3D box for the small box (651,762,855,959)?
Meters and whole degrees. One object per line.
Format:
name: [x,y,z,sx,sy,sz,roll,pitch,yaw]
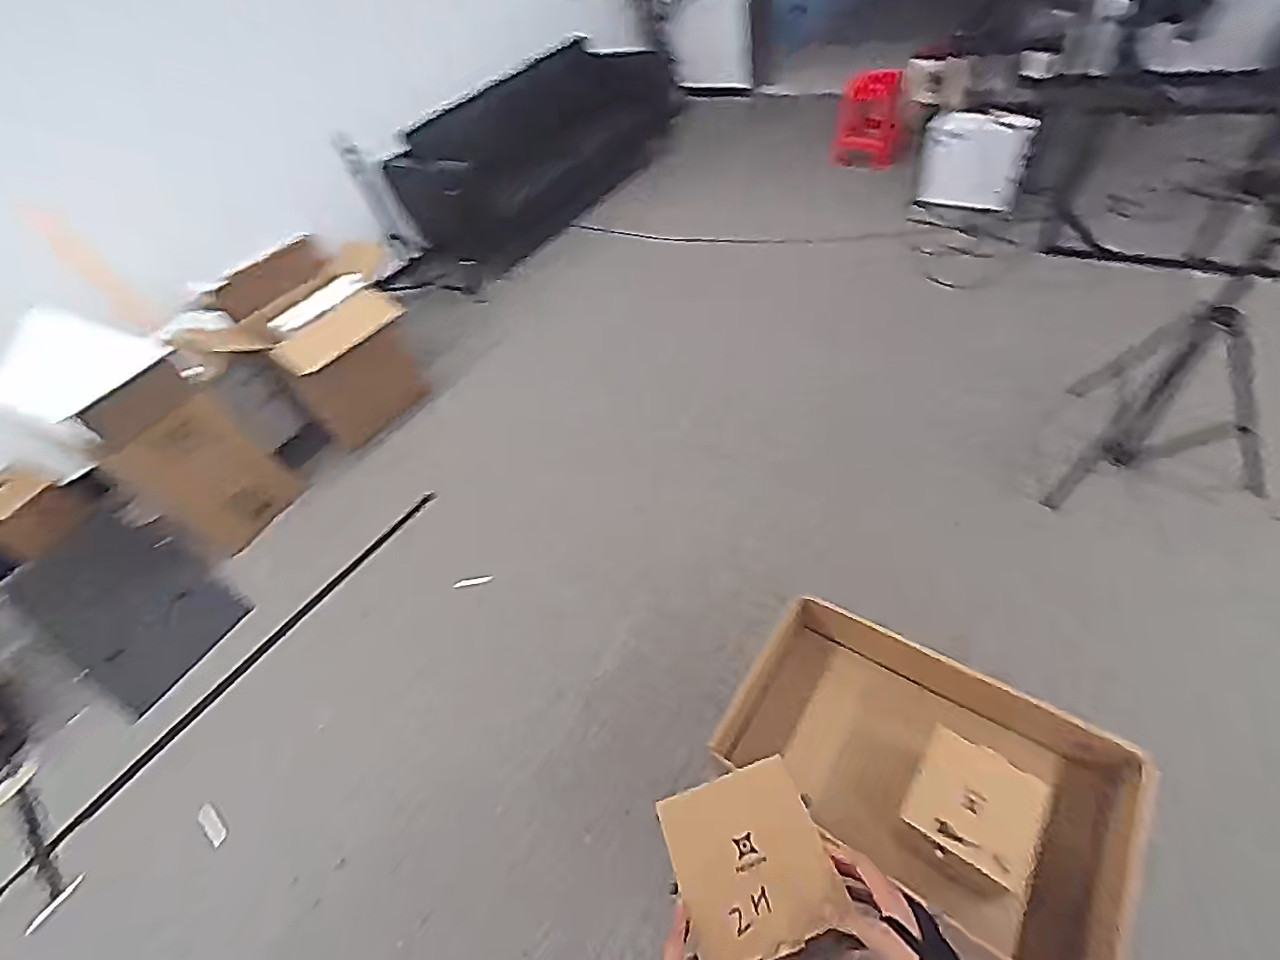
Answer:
small box: [0.126,0.478,0.632,0.168,0.176,0.179,-20,38,-6]
